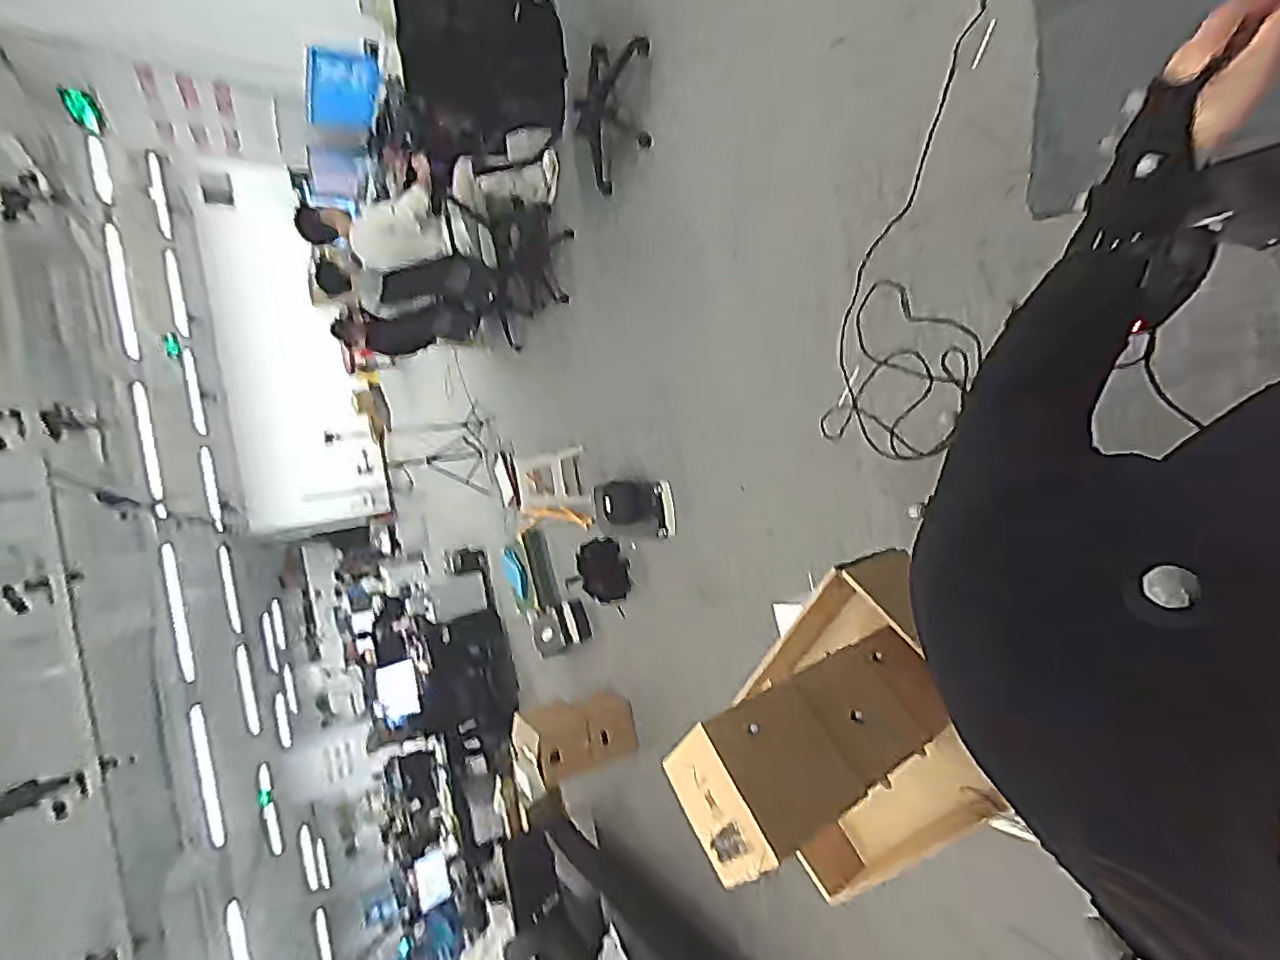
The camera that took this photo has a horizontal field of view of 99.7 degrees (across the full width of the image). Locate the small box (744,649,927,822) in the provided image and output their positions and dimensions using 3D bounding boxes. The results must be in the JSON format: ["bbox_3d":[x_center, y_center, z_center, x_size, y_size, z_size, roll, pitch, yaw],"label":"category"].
[{"bbox_3d":[0.305,0.393,0.861,0.179,0.176,0.168,52,141,33],"label":"small box"}]
